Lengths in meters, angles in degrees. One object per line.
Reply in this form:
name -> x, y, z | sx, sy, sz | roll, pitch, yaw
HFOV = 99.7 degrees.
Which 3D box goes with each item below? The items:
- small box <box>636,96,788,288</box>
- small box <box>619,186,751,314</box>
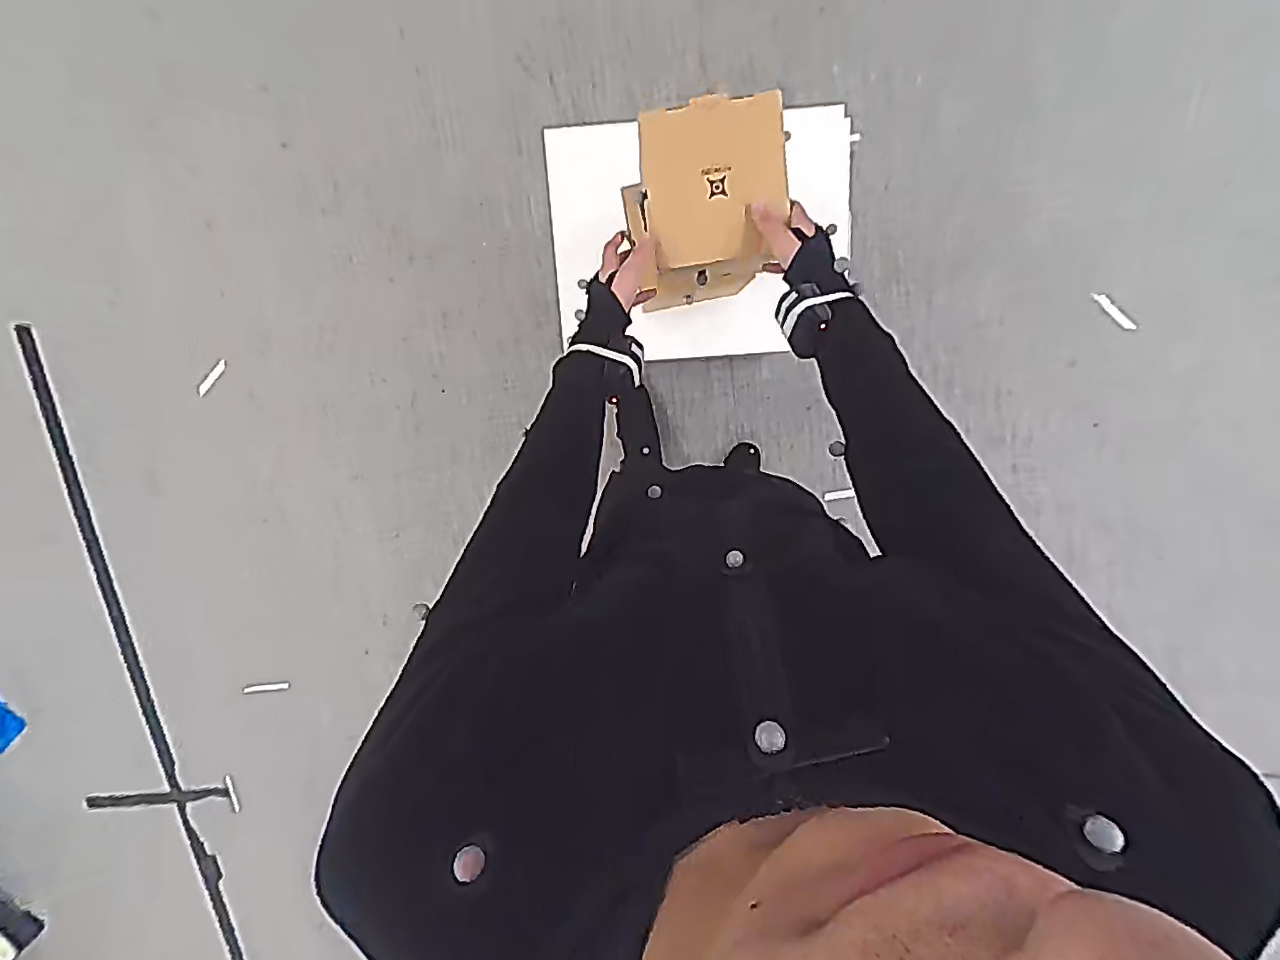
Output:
small box -> 0.089, -0.361, 0.716 | 0.168, 0.176, 0.179 | -8, 100, 2
small box -> 0.070, -0.375, 0.878 | 0.179, 0.176, 0.168 | -11, 101, 2
